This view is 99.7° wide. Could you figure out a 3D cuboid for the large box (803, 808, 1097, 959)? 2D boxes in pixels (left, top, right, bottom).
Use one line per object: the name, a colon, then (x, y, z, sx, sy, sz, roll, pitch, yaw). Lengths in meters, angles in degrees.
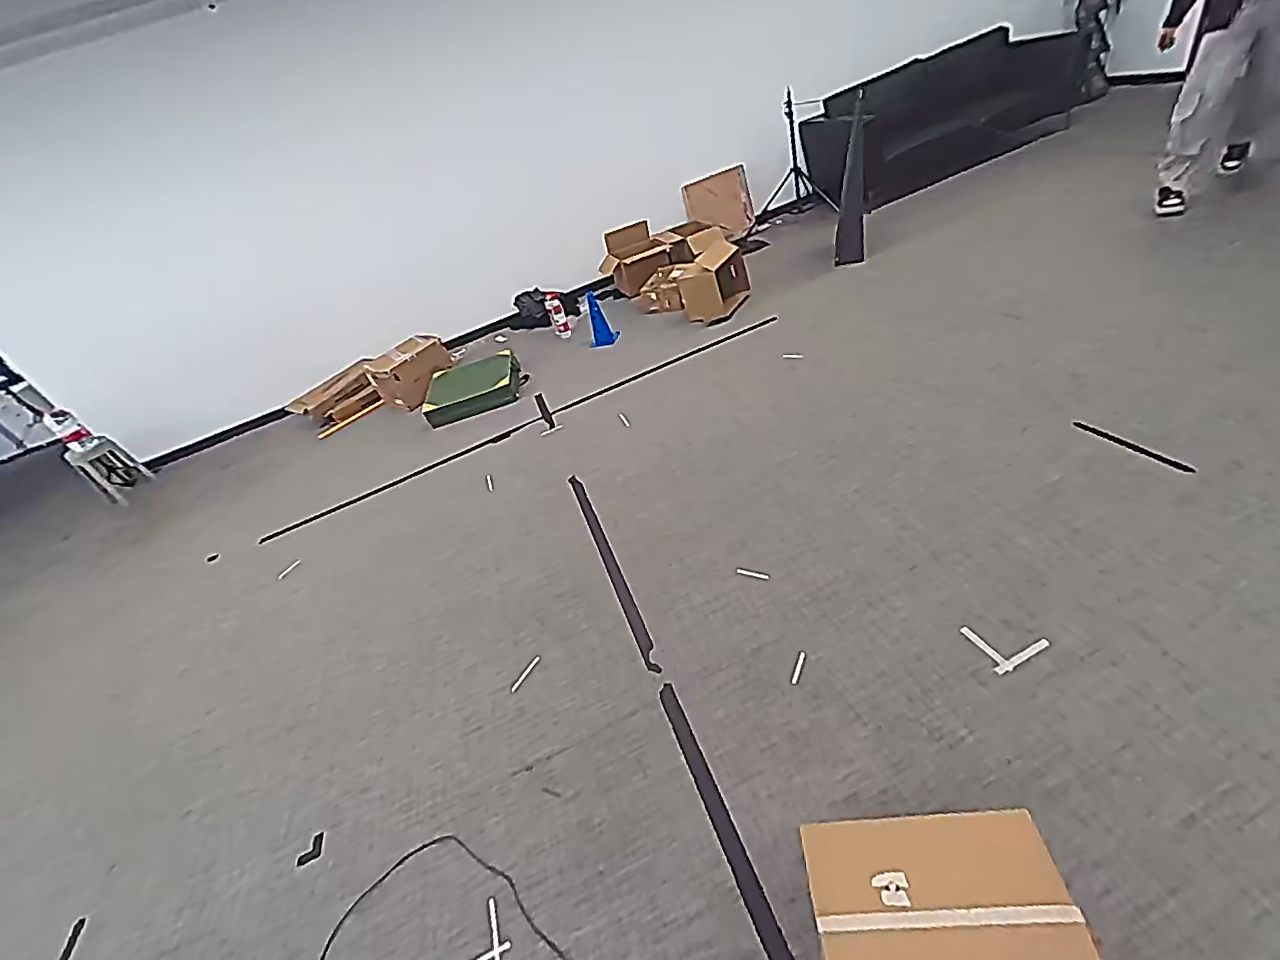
large box: (0.546, 0.844, 0.982, 0.408, 0.320, 0.320, -13, 35, 11)
